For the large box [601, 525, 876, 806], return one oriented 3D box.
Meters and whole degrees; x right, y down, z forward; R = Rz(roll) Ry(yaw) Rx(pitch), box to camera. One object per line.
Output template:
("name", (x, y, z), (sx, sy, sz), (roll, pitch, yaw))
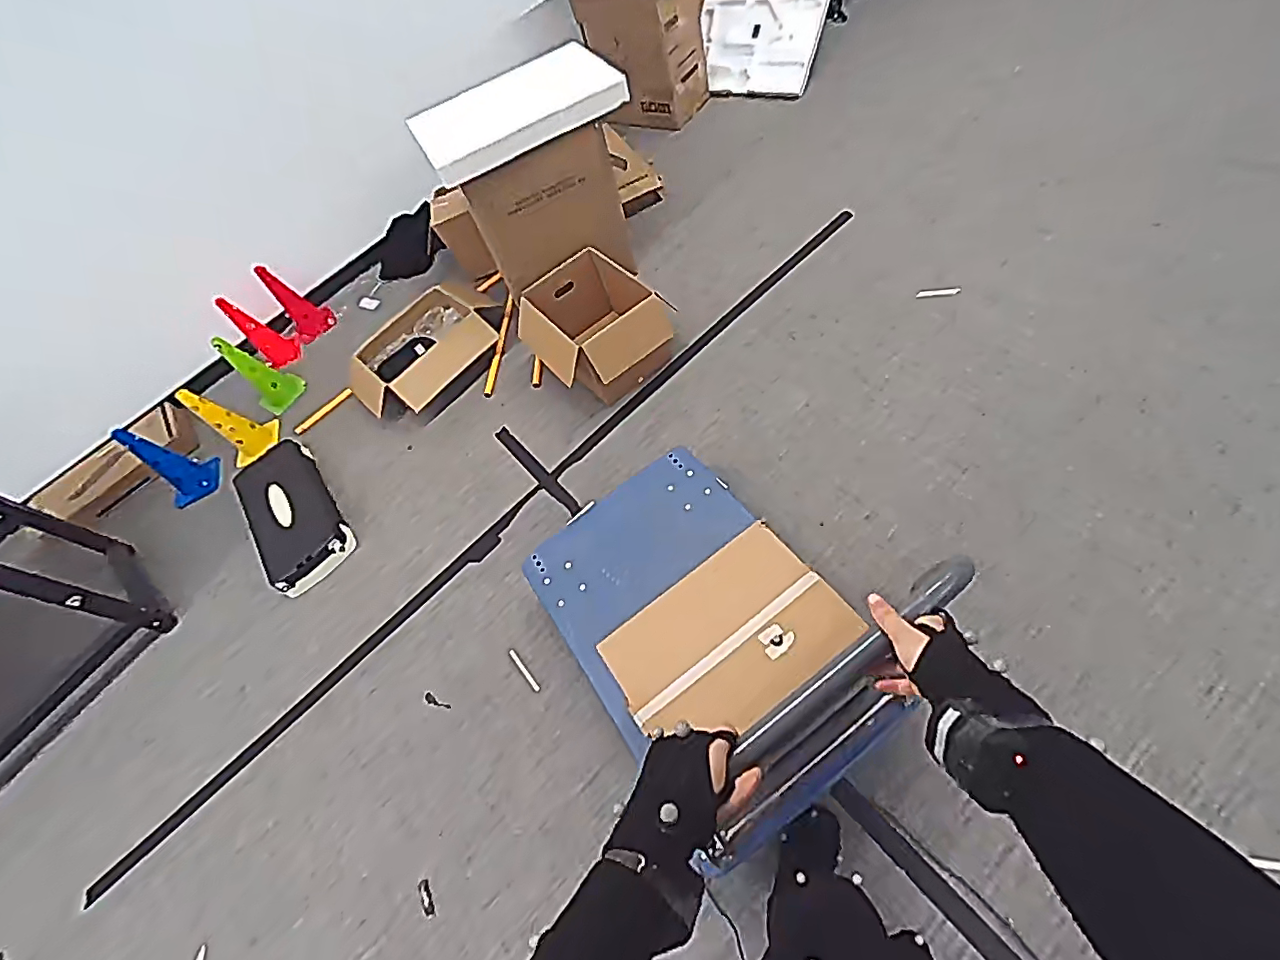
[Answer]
("large box", (0.198, 0.376, 1.087), (0.408, 0.320, 0.320), (-36, 56, -8))
